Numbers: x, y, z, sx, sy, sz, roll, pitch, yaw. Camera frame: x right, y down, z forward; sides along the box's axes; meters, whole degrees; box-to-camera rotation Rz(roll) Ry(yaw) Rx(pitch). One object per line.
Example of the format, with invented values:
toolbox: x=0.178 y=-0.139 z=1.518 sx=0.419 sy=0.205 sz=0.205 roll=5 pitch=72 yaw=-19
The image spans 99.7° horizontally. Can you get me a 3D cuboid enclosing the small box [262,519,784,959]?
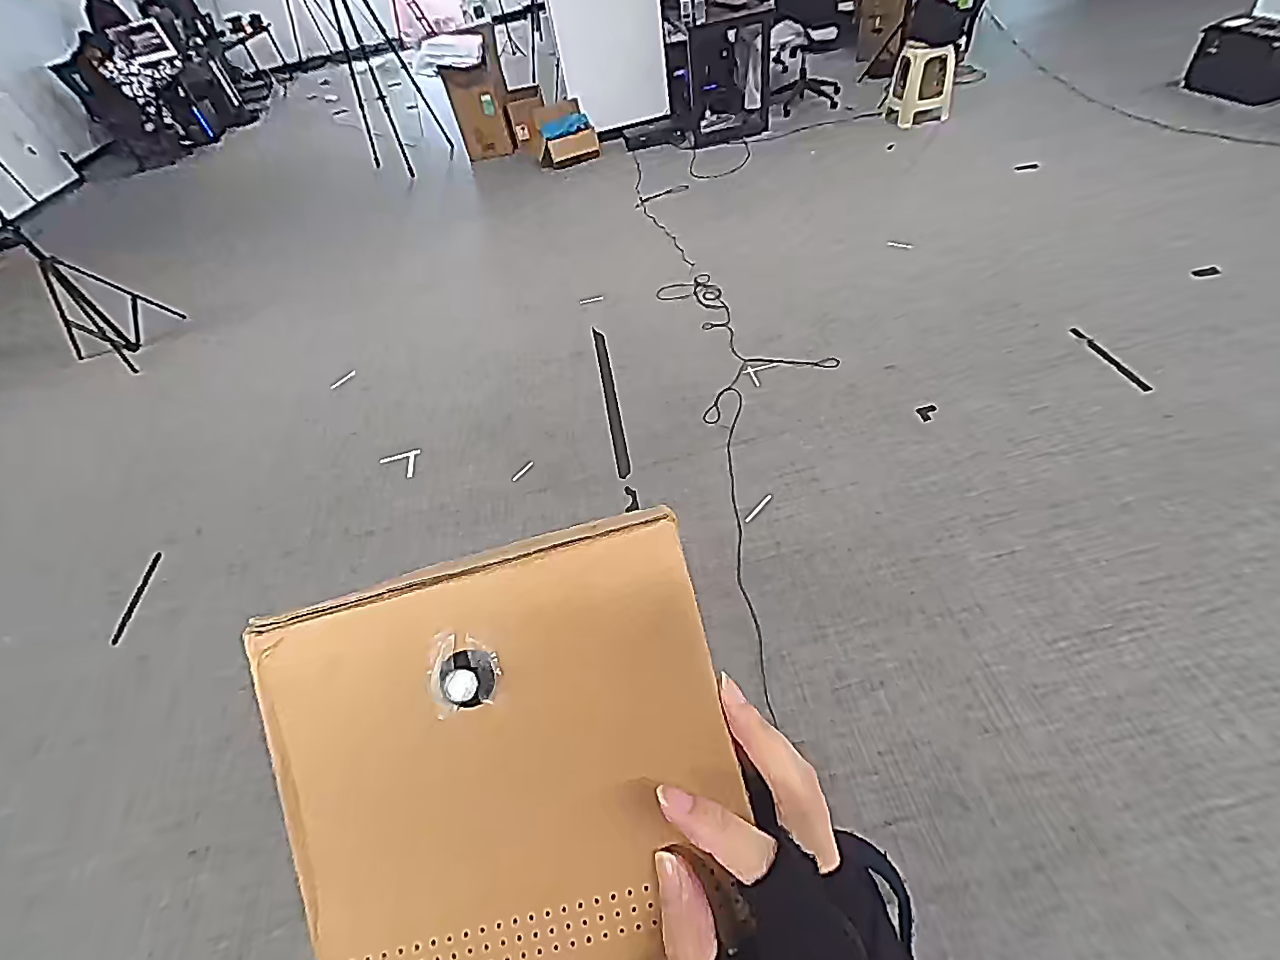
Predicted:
small box: x=-0.044 y=0.125 z=0.286 sx=0.179 sy=0.168 sz=0.176 roll=-15 pitch=88 yaw=2
